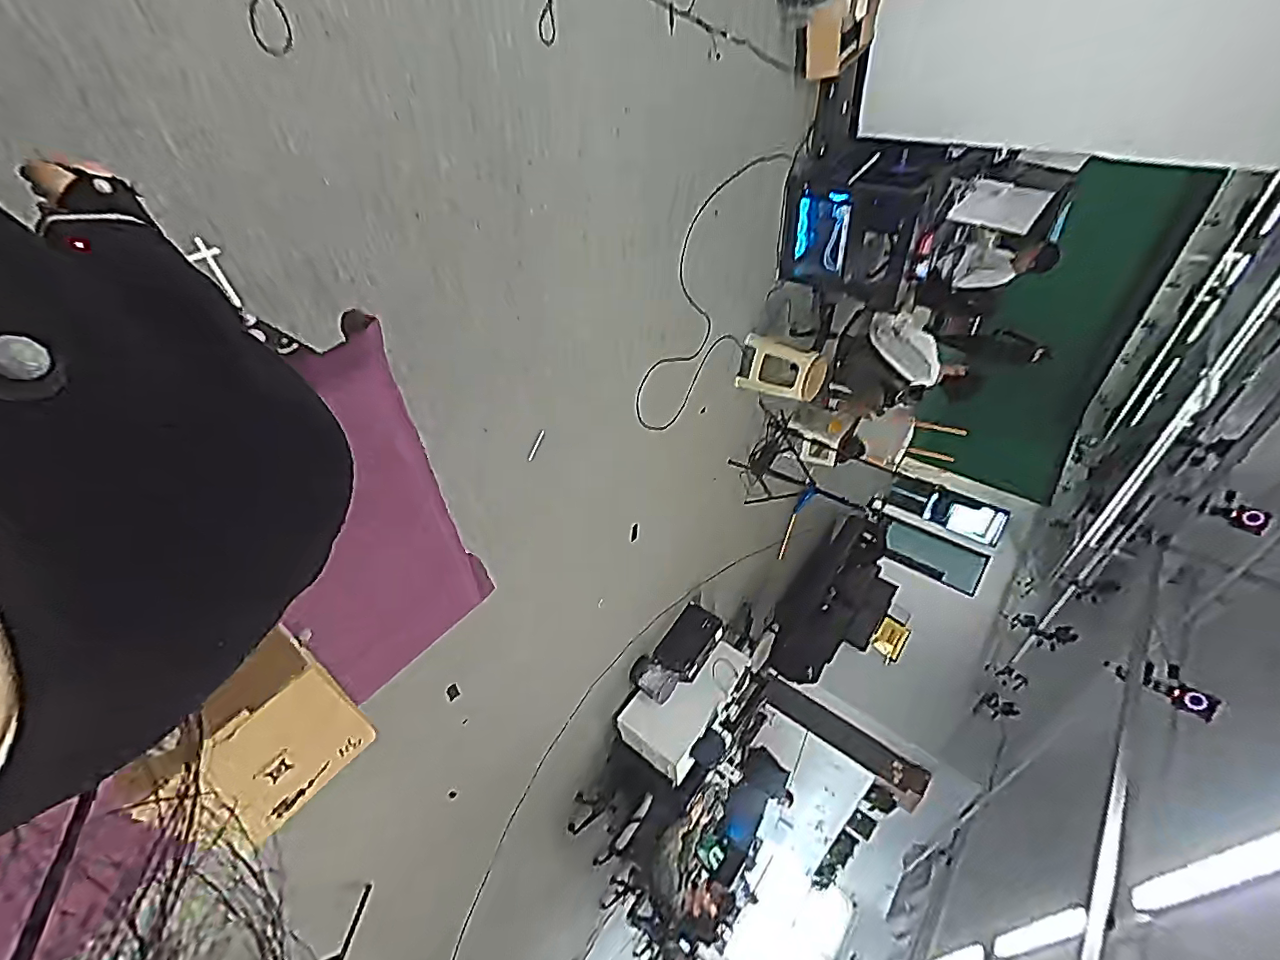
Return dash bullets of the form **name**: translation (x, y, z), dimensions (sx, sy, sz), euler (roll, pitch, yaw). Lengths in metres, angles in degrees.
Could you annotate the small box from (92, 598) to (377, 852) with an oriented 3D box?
- **small box**: translation (-0.440, 0.258, 0.601), dimensions (0.168, 0.176, 0.179), euler (-42, 144, -33)
